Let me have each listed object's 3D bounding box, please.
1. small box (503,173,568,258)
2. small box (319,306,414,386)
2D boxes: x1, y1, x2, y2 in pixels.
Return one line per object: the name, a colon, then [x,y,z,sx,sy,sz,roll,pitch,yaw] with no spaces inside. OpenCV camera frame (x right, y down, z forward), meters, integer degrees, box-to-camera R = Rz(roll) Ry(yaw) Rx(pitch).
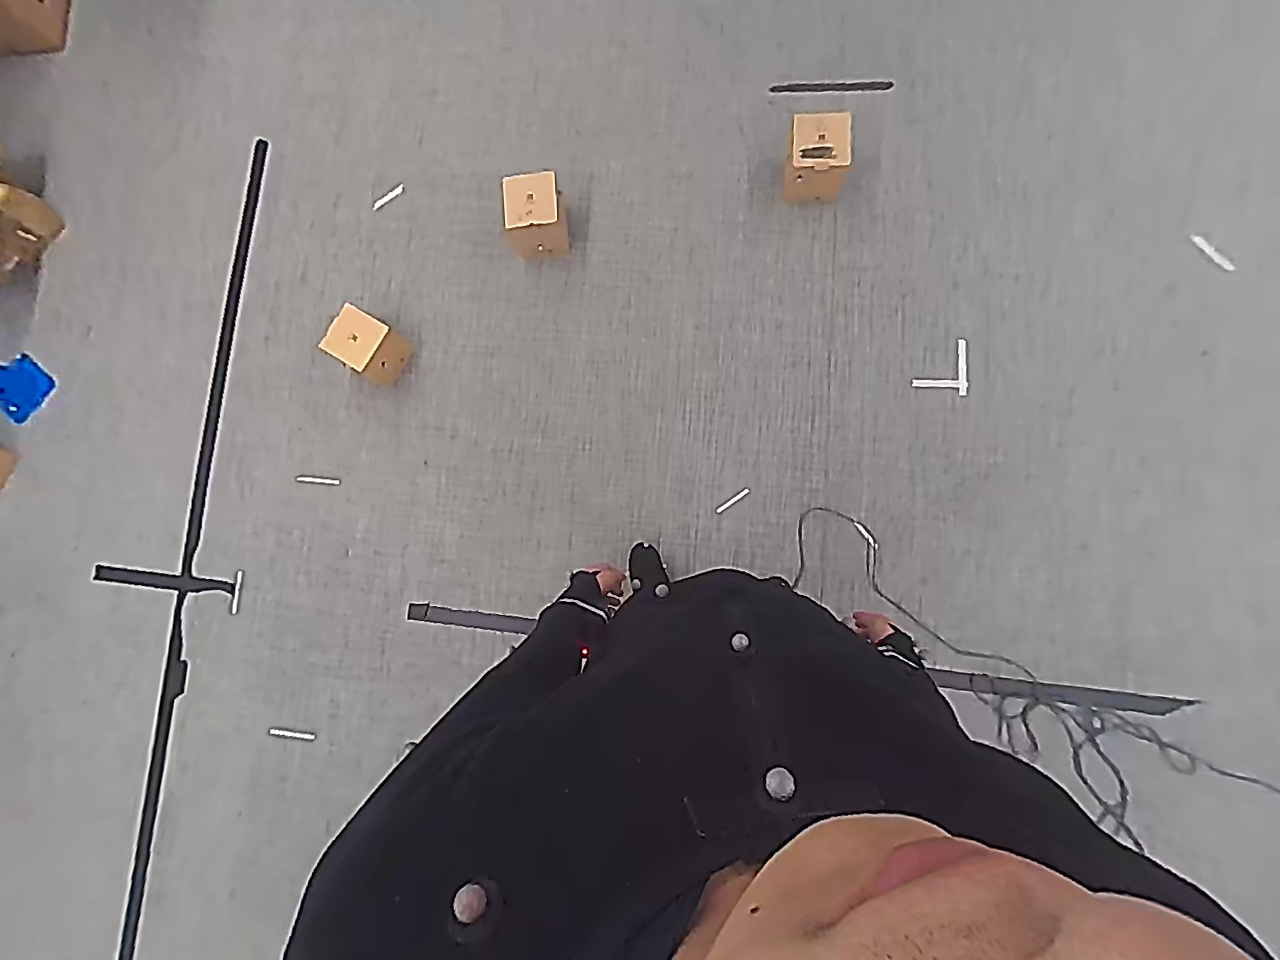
small box: [-0.332,-0.845,1.737,0.168,0.176,0.179,-6,83,5]
small box: [-0.870,-0.421,1.739,0.179,0.176,0.168,30,87,9]
